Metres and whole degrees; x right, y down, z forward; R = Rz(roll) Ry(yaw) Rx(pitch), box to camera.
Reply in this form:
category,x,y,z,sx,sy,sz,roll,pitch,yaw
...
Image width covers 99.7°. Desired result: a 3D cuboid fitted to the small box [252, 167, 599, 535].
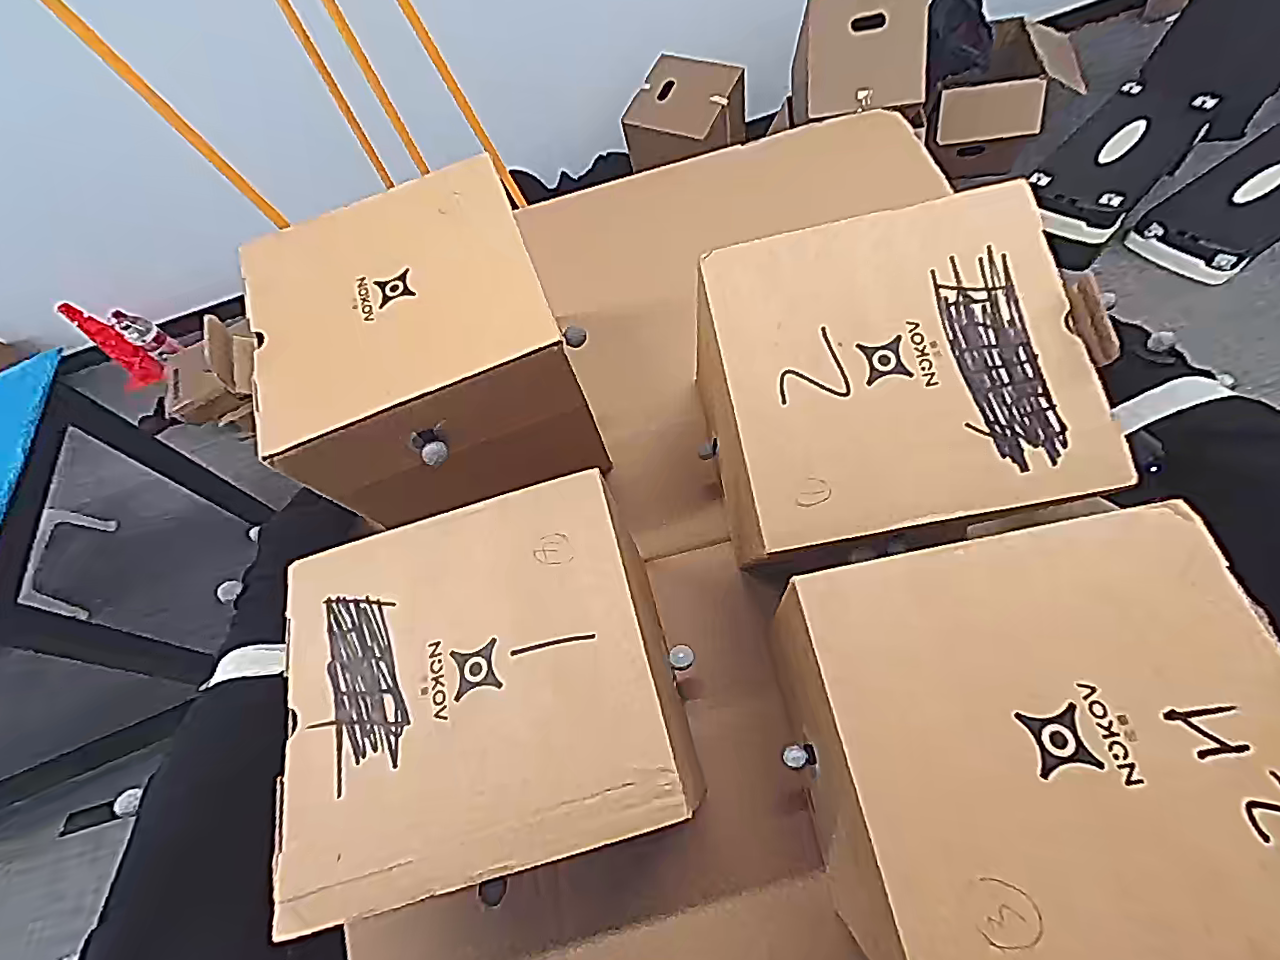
category,x,y,z,sx,sy,sz,roll,pitch,yaw
small box,-0.139,-0.080,0.403,0.179,0.176,0.168,-22,66,0
